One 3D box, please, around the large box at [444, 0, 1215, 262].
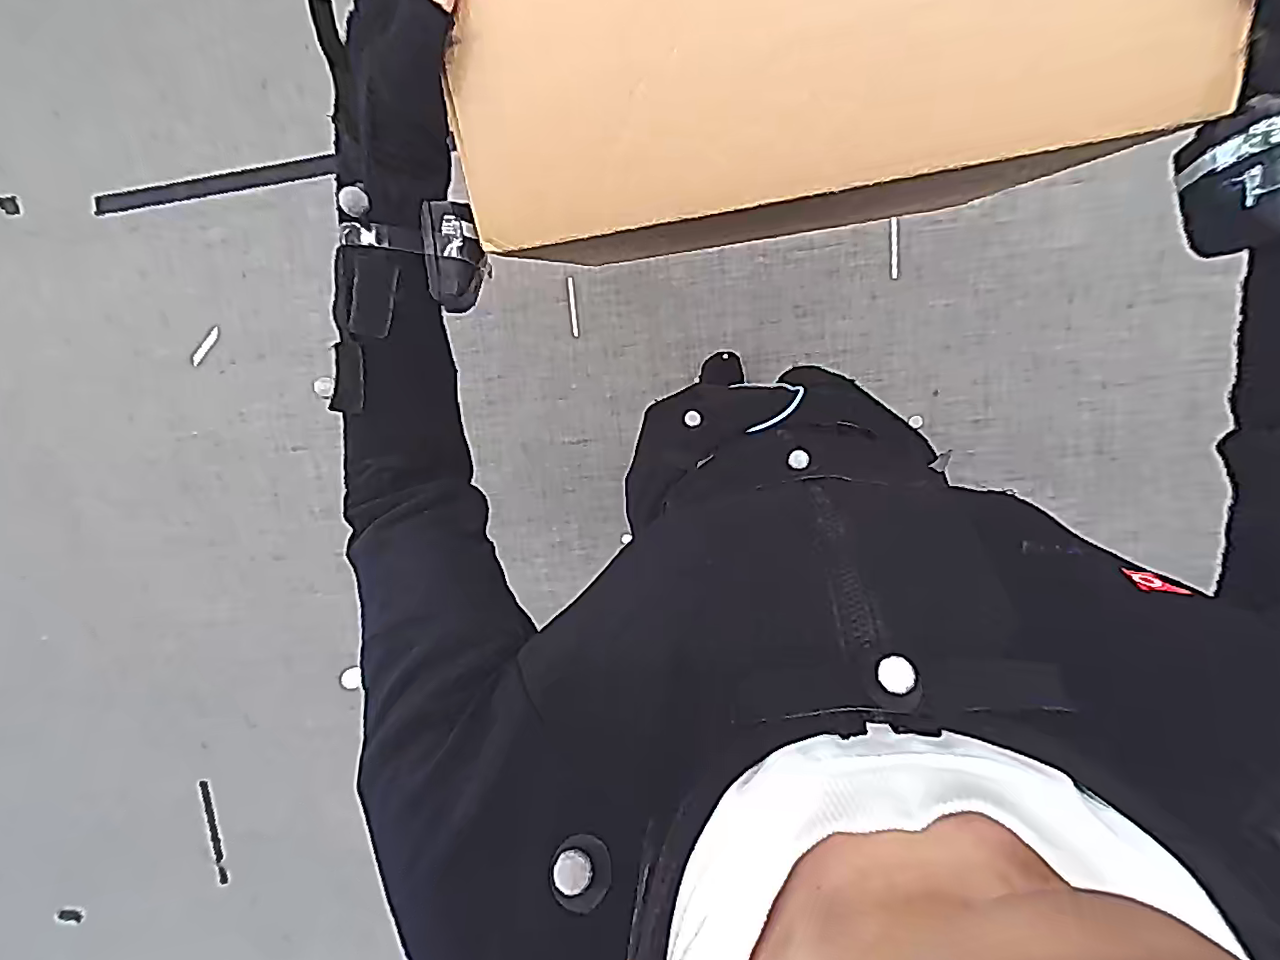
[{"bbox_3d":[0.093,-0.370,0.410,0.408,0.320,0.320,-6,109,10],"label":"large box"}]
